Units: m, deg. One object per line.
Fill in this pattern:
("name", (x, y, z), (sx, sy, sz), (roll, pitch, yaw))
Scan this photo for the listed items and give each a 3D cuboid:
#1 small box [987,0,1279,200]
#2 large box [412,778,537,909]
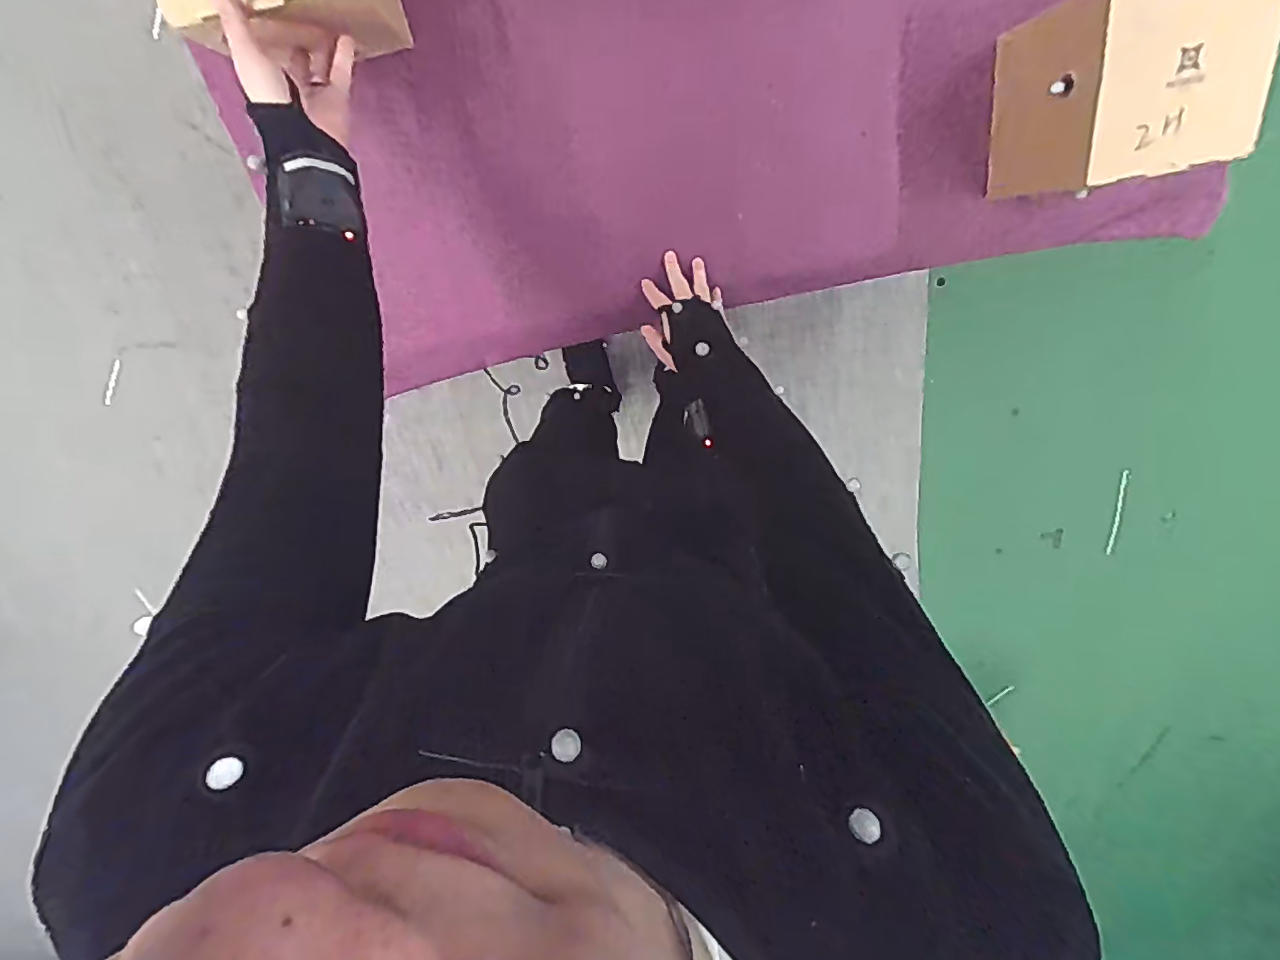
("small box", (0.515, -0.422, 0.592), (0.168, 0.176, 0.179), (-10, 114, 3))
("large box", (-0.638, 1.417, 2.117), (0.408, 0.320, 0.320), (10, 114, -9))
